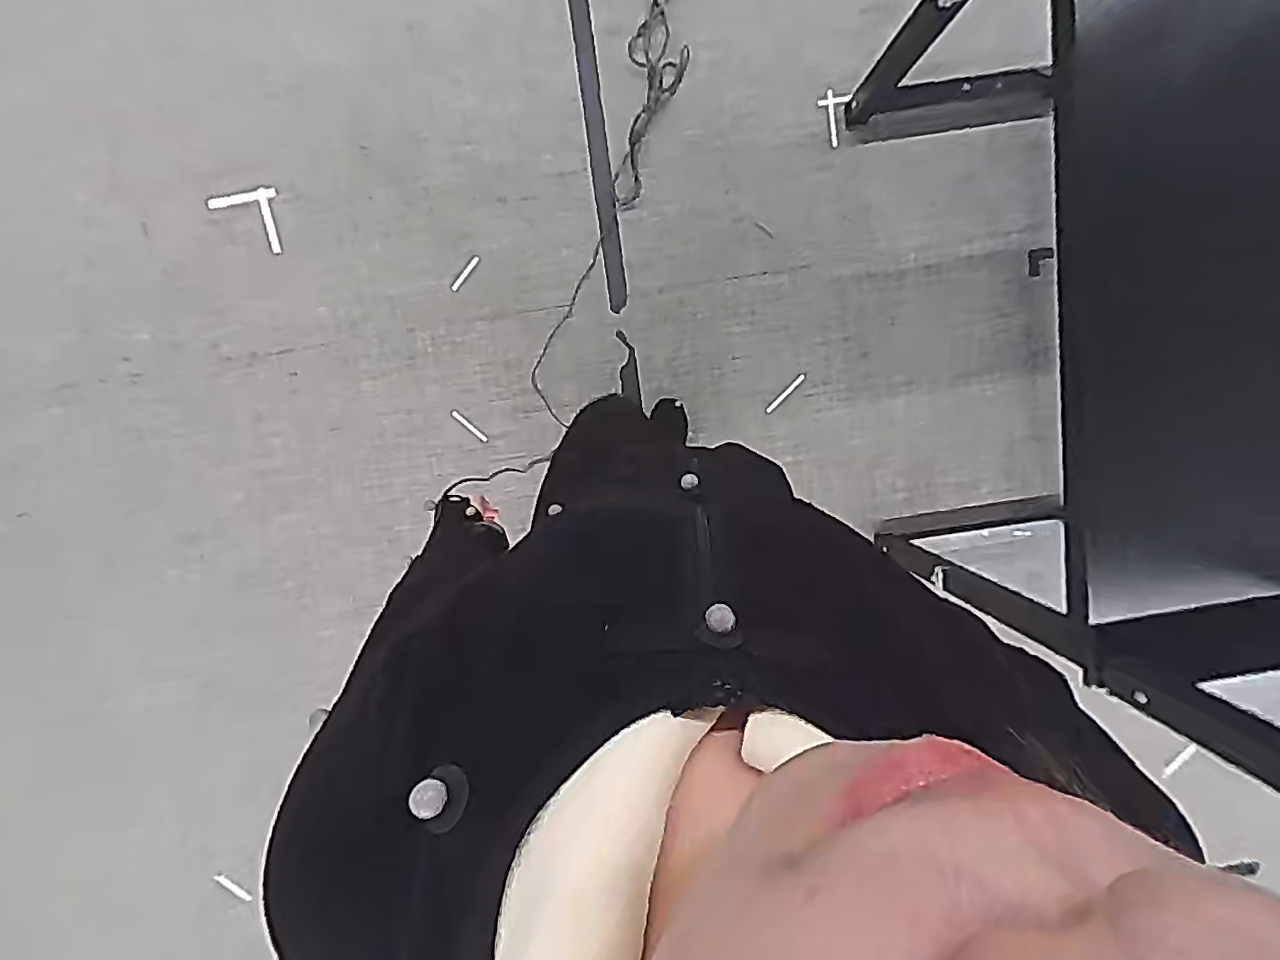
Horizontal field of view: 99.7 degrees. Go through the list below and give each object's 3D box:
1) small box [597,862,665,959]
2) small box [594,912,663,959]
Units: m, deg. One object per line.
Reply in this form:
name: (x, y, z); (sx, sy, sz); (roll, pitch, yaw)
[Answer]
small box: (-0.024, 1.257, 1.576); (0.179, 0.176, 0.168); (-7, 98, 1)
small box: (-0.027, 1.278, 1.414); (0.179, 0.176, 0.168); (-4, 98, -1)
